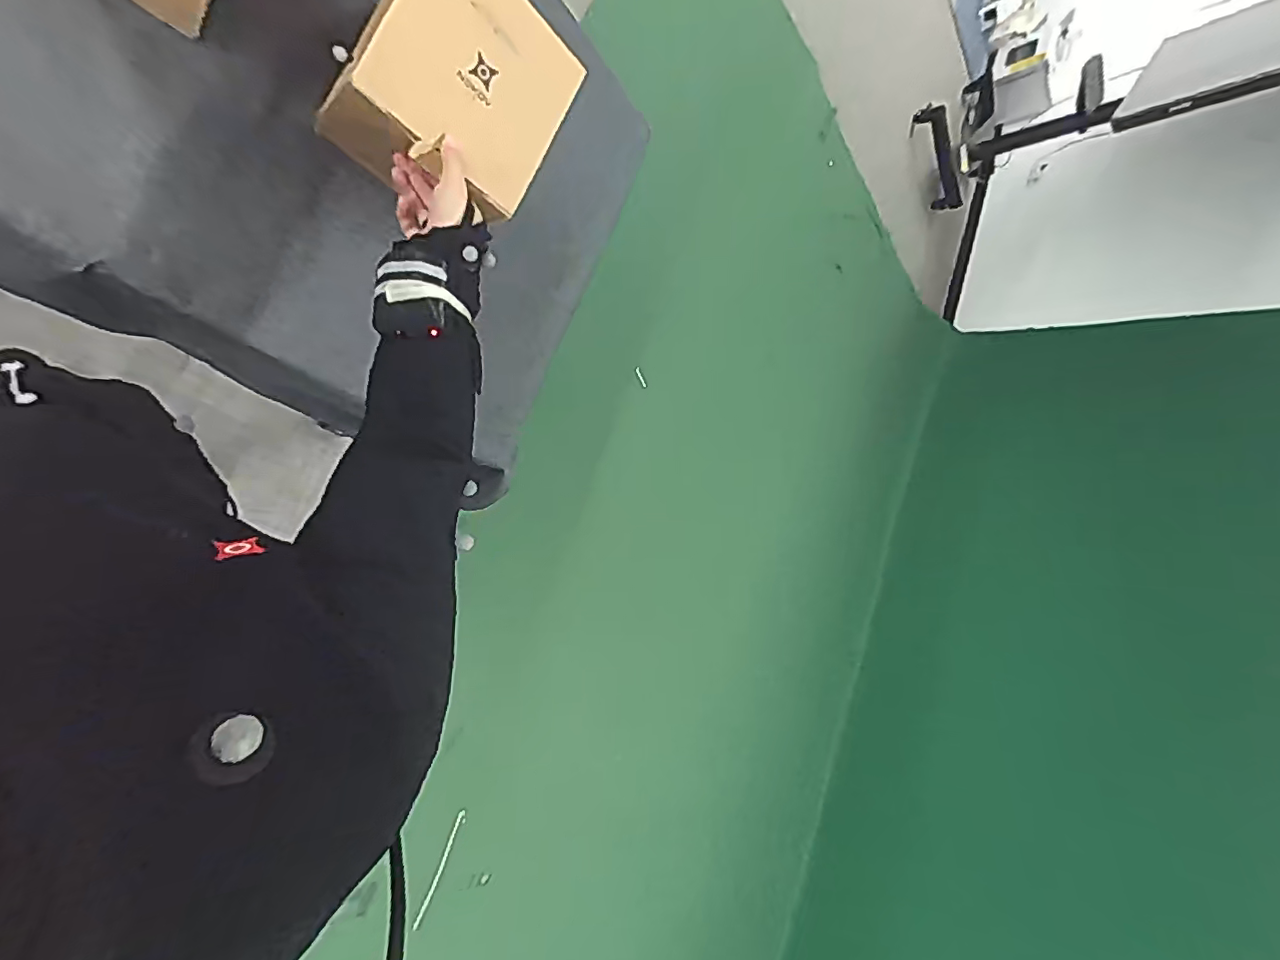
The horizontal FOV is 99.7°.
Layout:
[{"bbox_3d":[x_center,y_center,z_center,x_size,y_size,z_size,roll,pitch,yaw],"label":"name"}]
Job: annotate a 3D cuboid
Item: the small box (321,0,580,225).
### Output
[{"bbox_3d":[-0.199,-0.388,0.552,0.168,0.176,0.179,28,86,-44],"label":"small box"}]
